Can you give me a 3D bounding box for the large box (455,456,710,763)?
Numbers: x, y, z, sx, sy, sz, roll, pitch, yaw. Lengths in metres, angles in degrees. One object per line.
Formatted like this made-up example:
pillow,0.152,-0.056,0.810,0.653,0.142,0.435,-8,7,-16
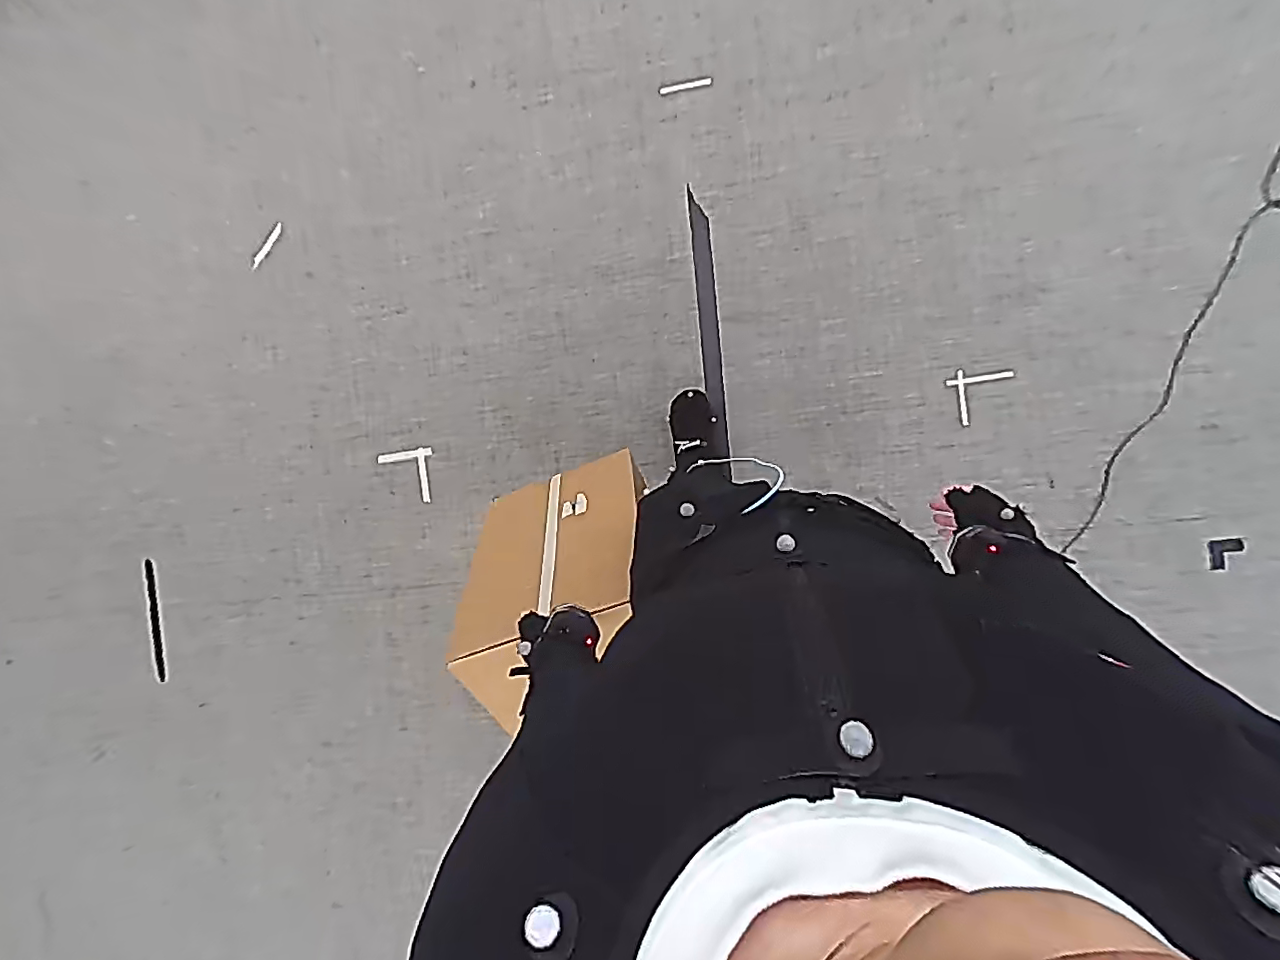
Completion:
large box,-0.091,0.222,1.002,0.320,0.408,0.320,-20,121,7
